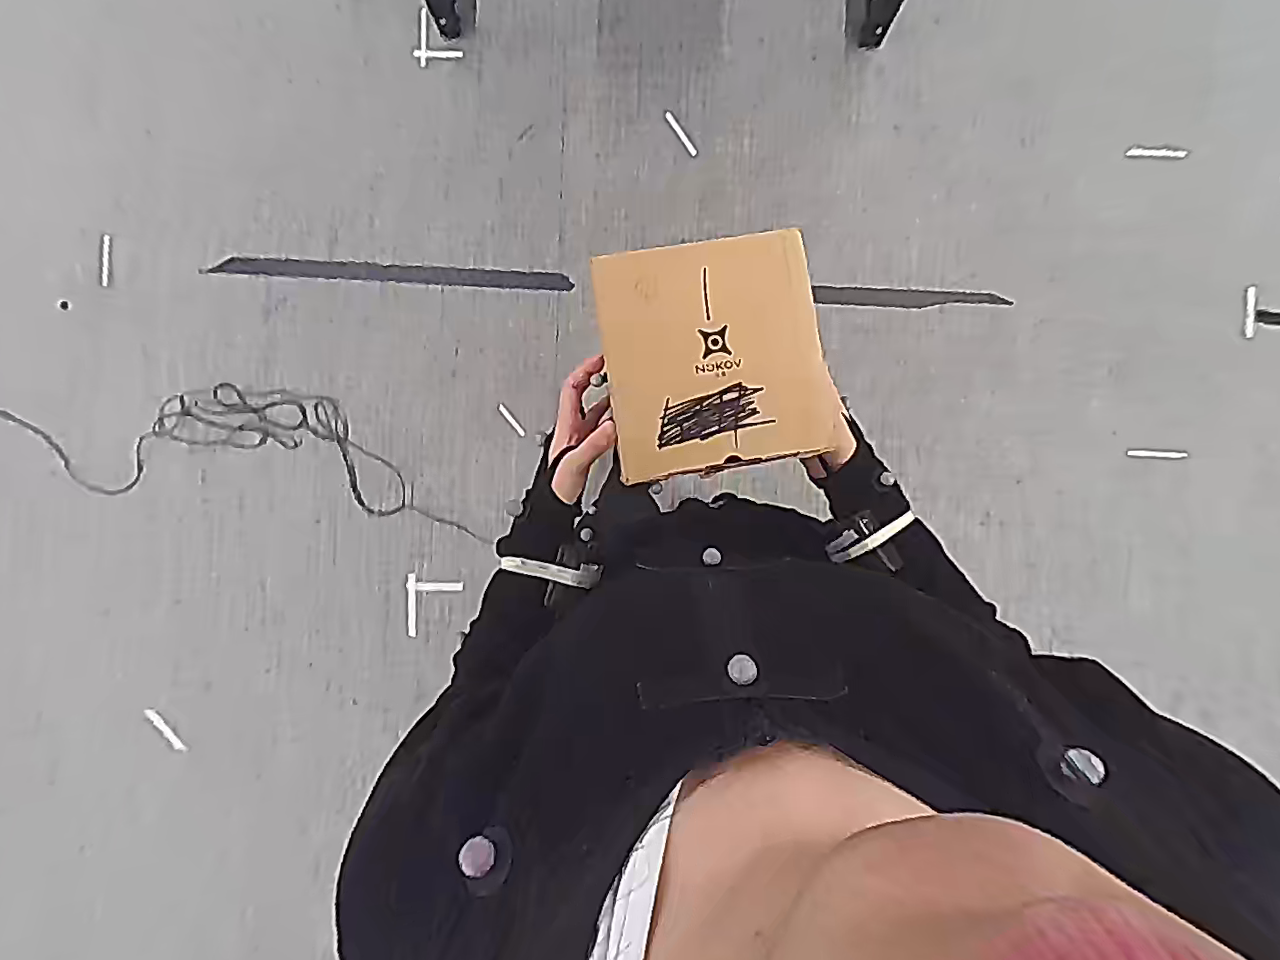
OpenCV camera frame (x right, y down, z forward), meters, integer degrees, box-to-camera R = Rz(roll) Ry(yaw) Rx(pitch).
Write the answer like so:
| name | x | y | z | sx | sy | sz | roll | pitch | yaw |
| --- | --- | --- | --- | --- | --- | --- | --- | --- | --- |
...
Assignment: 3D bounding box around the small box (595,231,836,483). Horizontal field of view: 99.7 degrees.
| name | x | y | z | sx | sy | sz | roll | pitch | yaw |
| --- | --- | --- | --- | --- | --- | --- | --- | --- | --- |
| small box | 0.055 | -0.094 | 0.491 | 0.168 | 0.176 | 0.179 | -9 | 89 | -3 |
